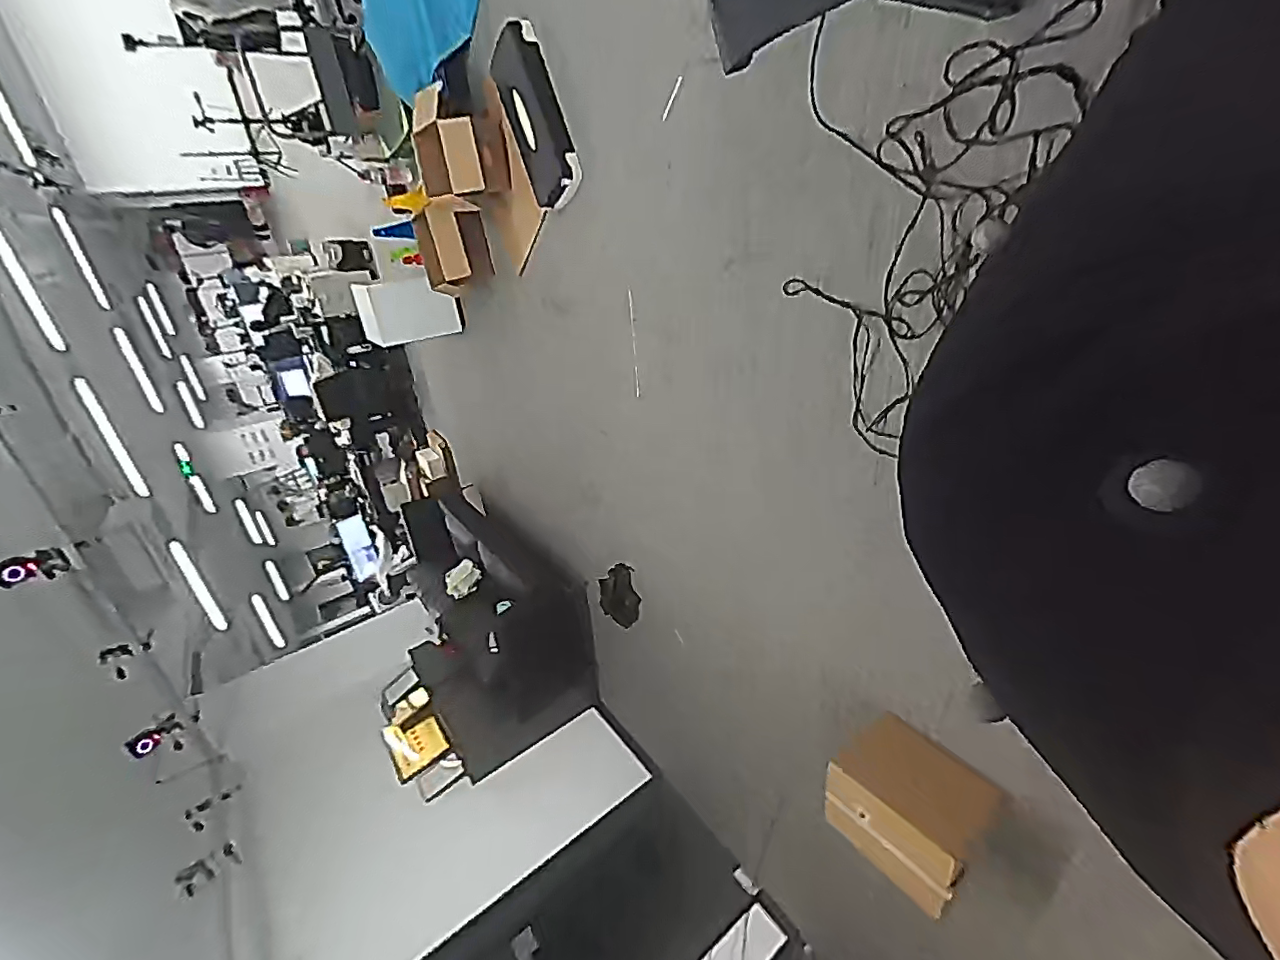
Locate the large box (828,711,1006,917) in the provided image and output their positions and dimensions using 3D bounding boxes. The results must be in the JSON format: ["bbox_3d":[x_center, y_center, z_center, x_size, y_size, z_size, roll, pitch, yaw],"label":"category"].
[{"bbox_3d":[0.874,1.049,1.743,0.408,0.320,0.320,28,132,49],"label":"large box"}]
